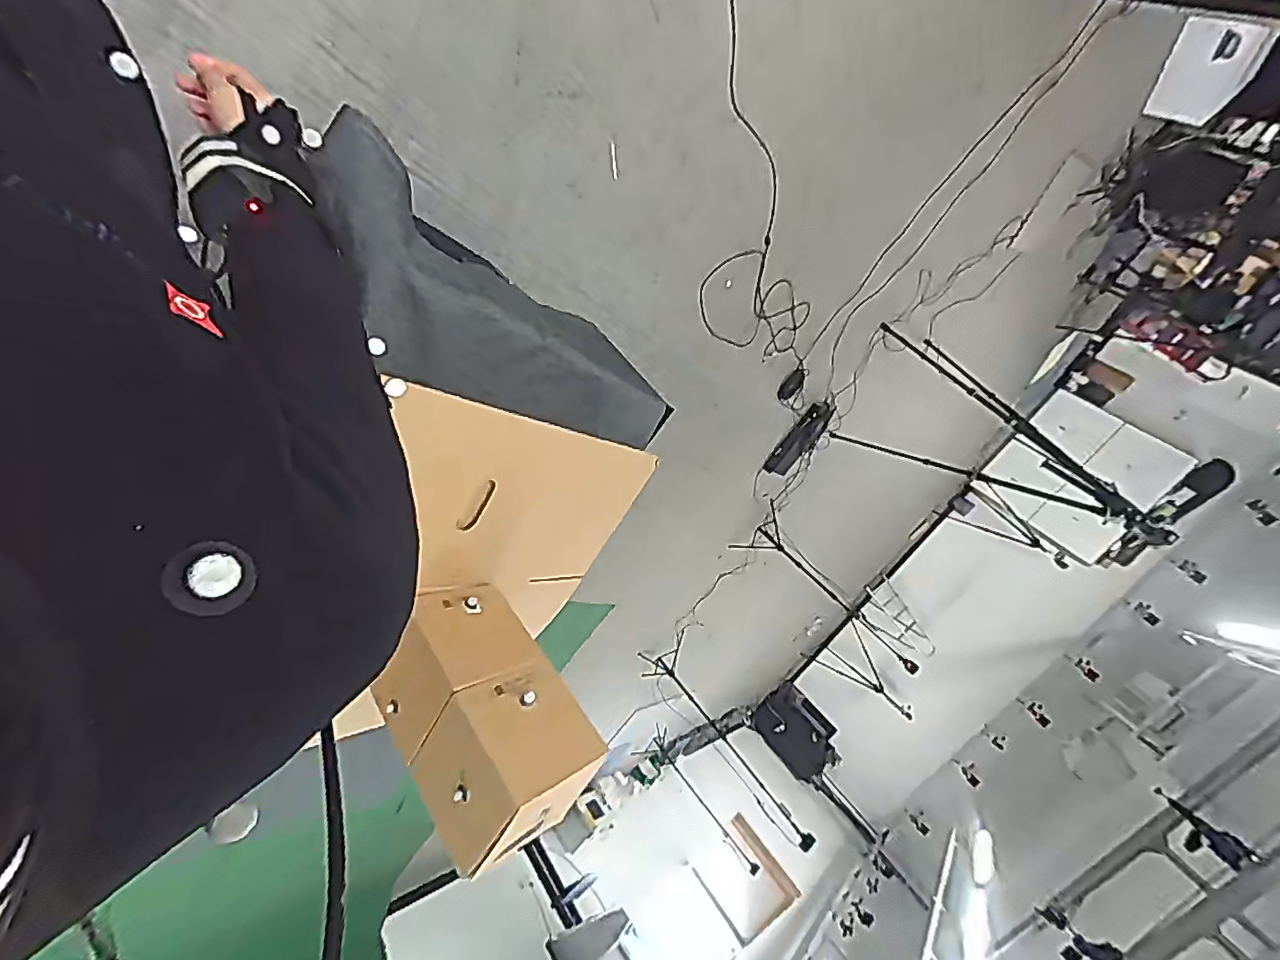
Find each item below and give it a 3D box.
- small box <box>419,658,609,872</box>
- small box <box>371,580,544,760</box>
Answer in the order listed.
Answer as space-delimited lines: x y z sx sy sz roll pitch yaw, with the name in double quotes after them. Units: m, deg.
-0.183 0.383 0.756 0.168 0.176 0.179 -1 129 -53 "small box"
-0.287 0.280 0.832 0.168 0.176 0.179 0 128 -53 "small box"
